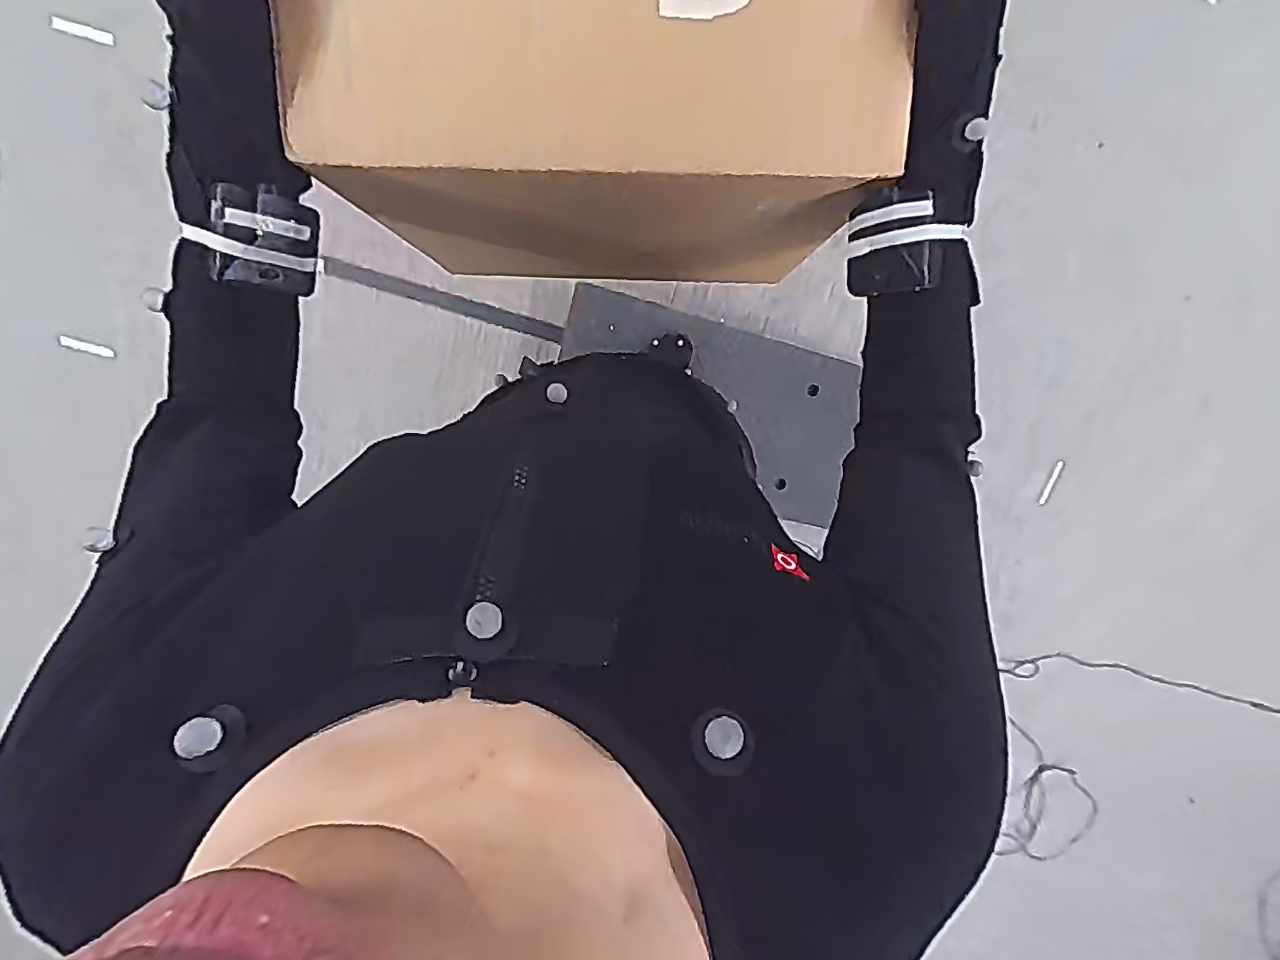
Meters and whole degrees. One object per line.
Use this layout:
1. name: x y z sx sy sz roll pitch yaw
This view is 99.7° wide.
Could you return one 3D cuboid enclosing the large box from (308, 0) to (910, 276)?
1. large box: -0.021 -0.384 0.497 0.408 0.320 0.320 1 98 -1
